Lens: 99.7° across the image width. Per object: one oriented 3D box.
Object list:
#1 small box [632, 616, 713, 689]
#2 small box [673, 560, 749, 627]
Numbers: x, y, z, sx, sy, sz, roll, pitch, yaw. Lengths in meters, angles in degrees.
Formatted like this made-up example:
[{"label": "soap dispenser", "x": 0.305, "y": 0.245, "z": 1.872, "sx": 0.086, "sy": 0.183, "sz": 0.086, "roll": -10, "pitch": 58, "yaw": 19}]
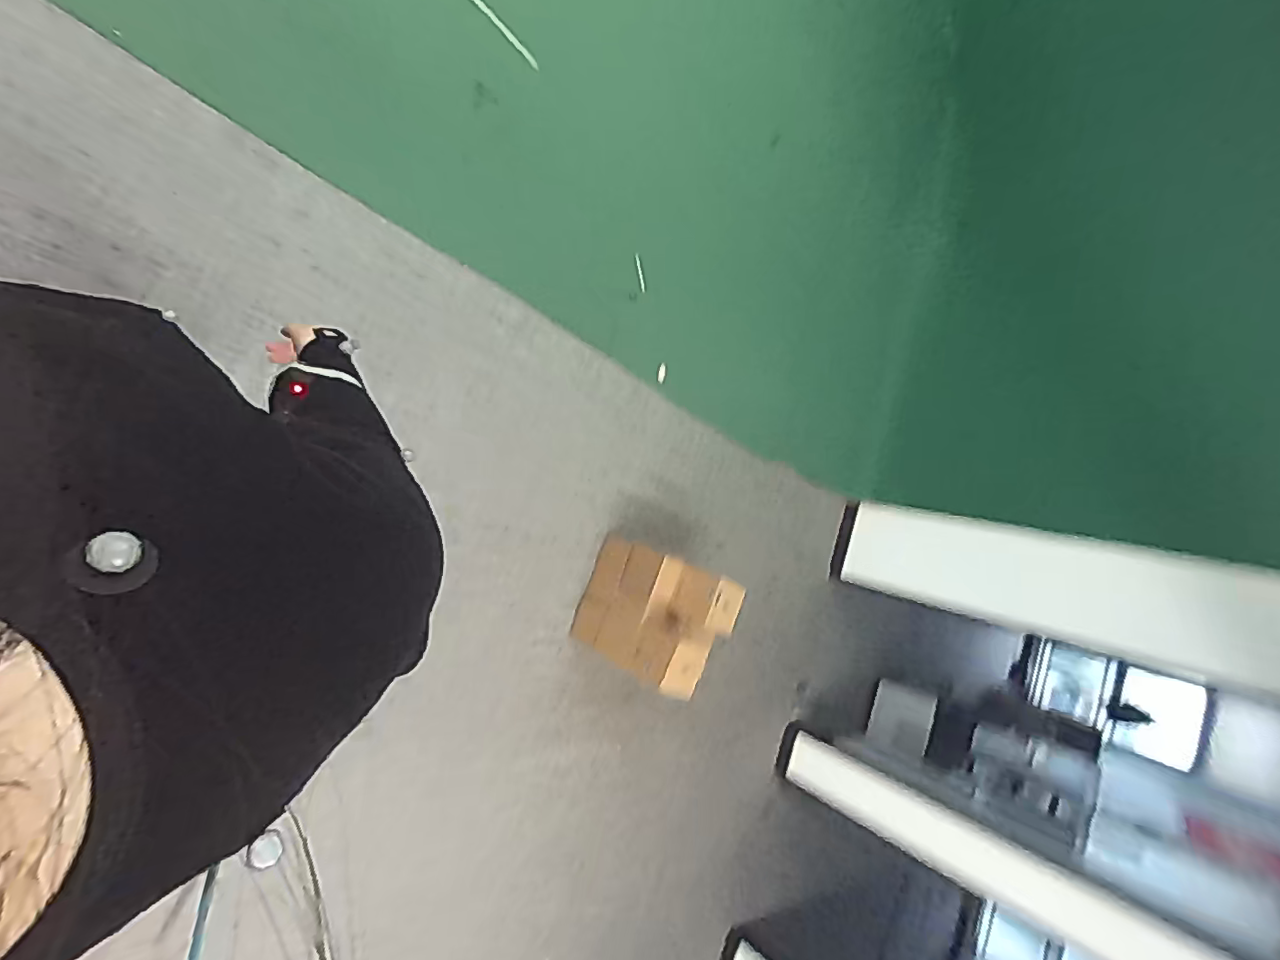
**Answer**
[{"label": "small box", "x": 0.103, "y": 0.566, "z": 1.783, "sx": 0.179, "sy": 0.176, "sz": 0.168, "roll": 33, "pitch": 77, "yaw": -44}, {"label": "small box", "x": 0.248, "y": 0.393, "z": 1.887, "sx": 0.179, "sy": 0.176, "sz": 0.168, "roll": 32, "pitch": 75, "yaw": -45}]
